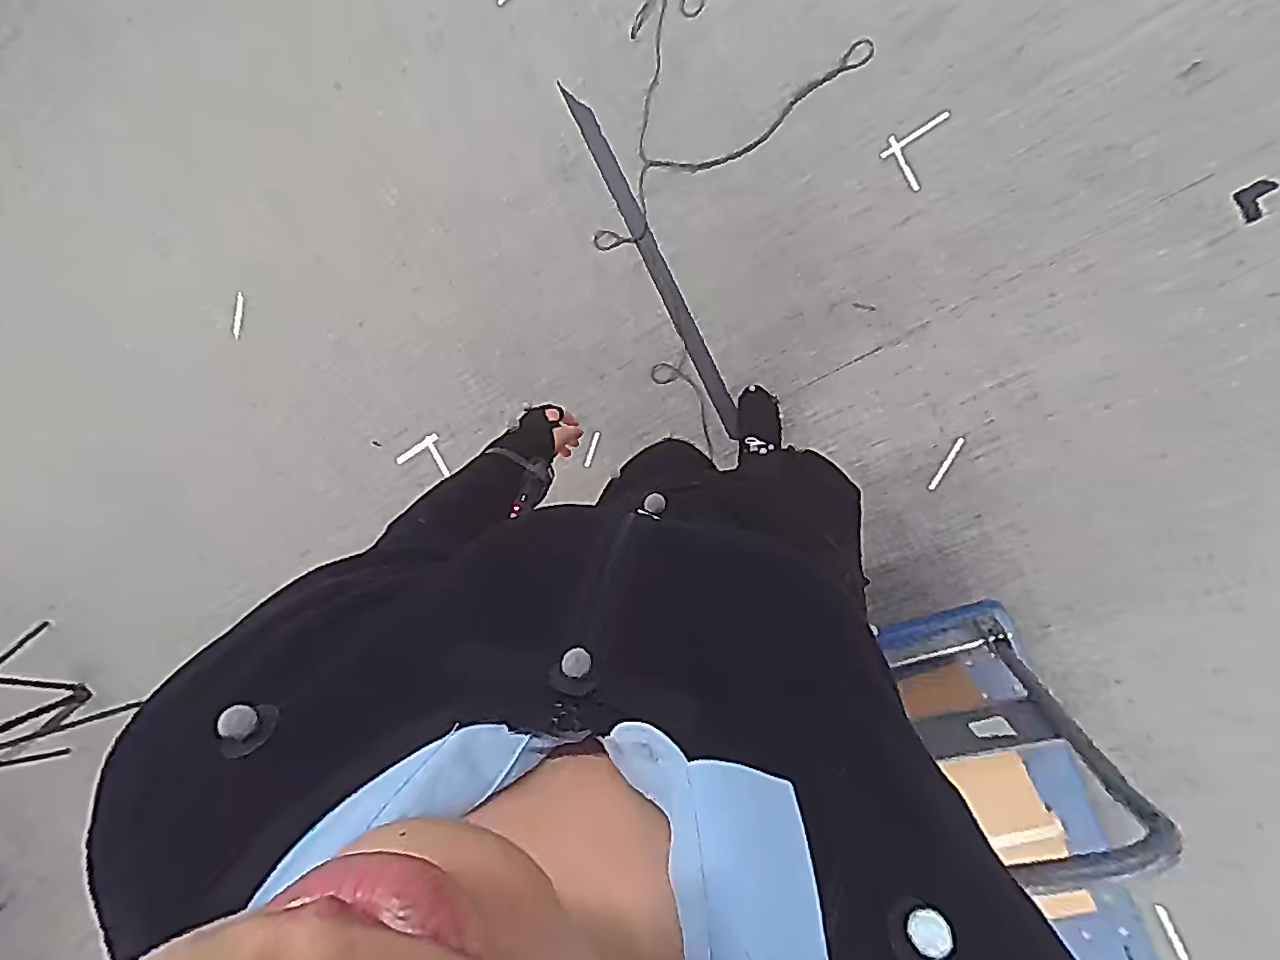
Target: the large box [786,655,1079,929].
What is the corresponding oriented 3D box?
[{"bbox_3d":[0.558,0.625,1.121,0.408,0.320,0.320,-27,89,19],"label":"large box"}]
